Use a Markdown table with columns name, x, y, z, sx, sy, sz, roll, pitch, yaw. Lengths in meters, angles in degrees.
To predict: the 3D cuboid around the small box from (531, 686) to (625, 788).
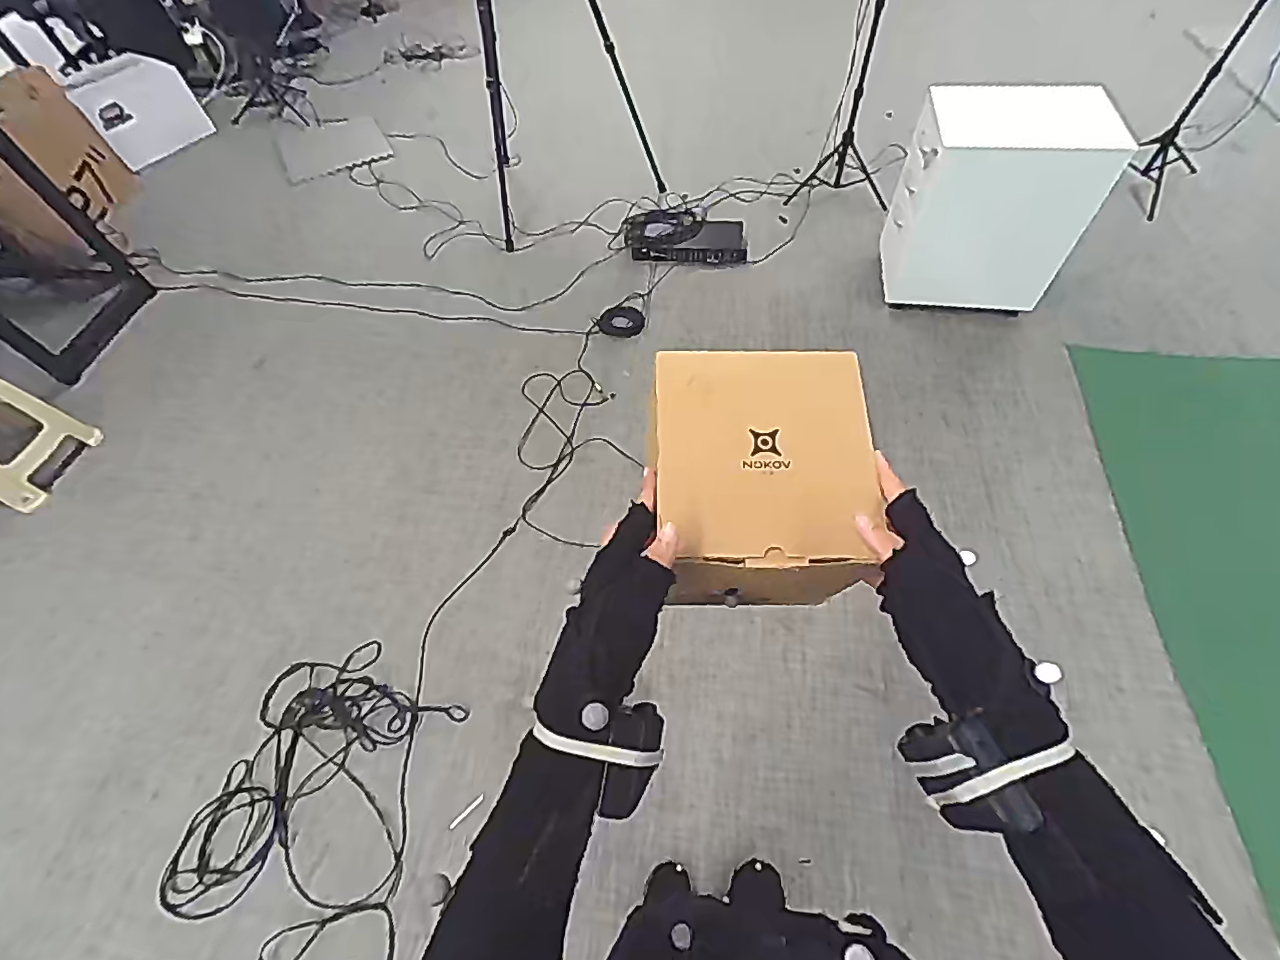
| name | x | y | z | sx | sy | sz | roll | pitch | yaw |
| --- | --- | --- | --- | --- | --- | --- | --- | --- | --- |
| small box | -0.134 | 0.602 | 1.259 | 0.168 | 0.176 | 0.179 | 7 | 57 | 9 |
